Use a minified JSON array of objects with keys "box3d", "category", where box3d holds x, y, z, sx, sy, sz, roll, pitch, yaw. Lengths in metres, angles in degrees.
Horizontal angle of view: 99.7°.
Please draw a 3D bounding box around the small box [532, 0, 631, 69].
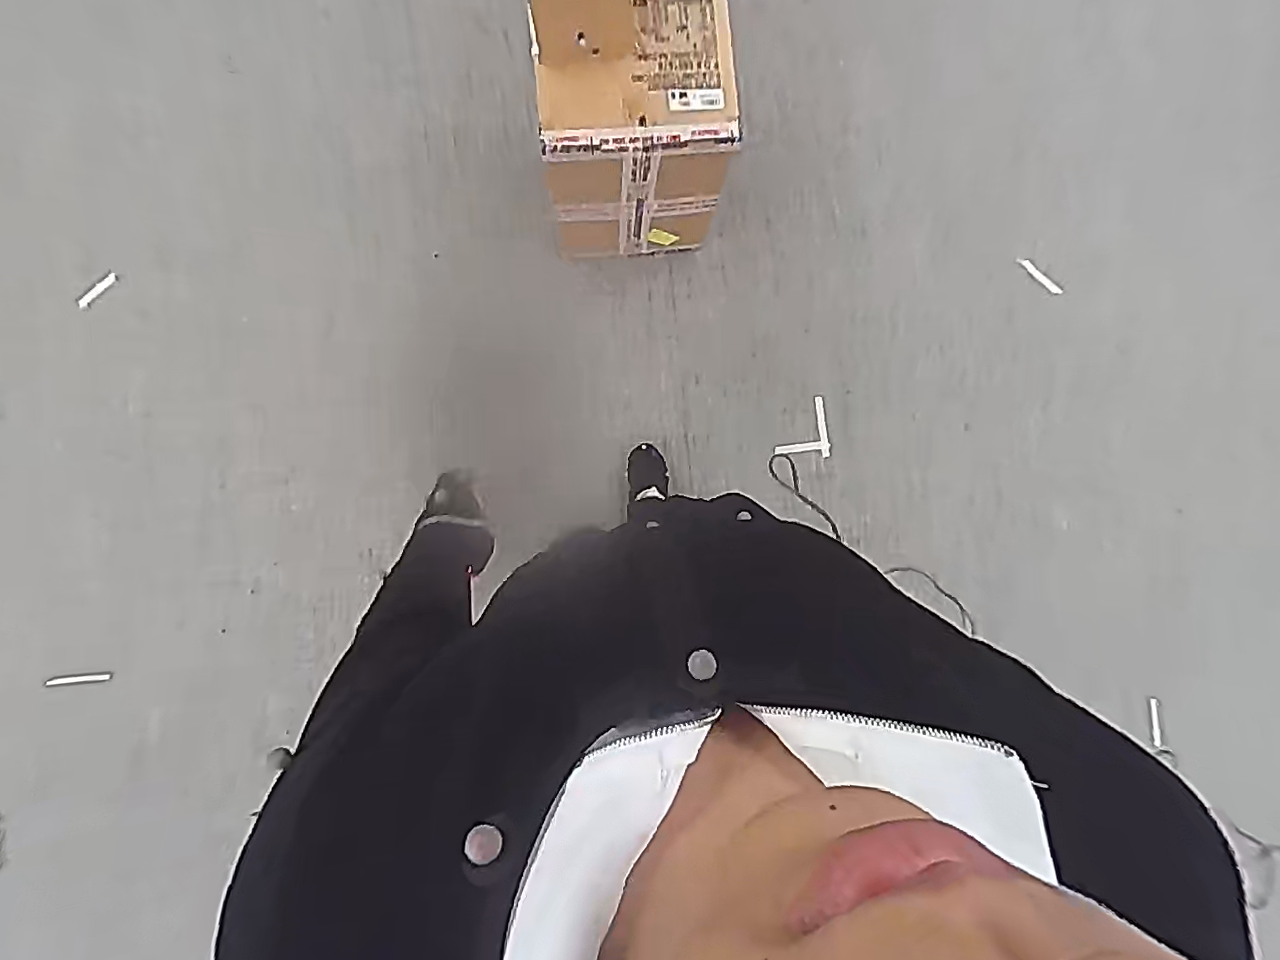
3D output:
[{"box3d":[-0.109,-0.871,0.943,0.168,0.176,0.179,-9,91,-1],"category":"small box"}]
